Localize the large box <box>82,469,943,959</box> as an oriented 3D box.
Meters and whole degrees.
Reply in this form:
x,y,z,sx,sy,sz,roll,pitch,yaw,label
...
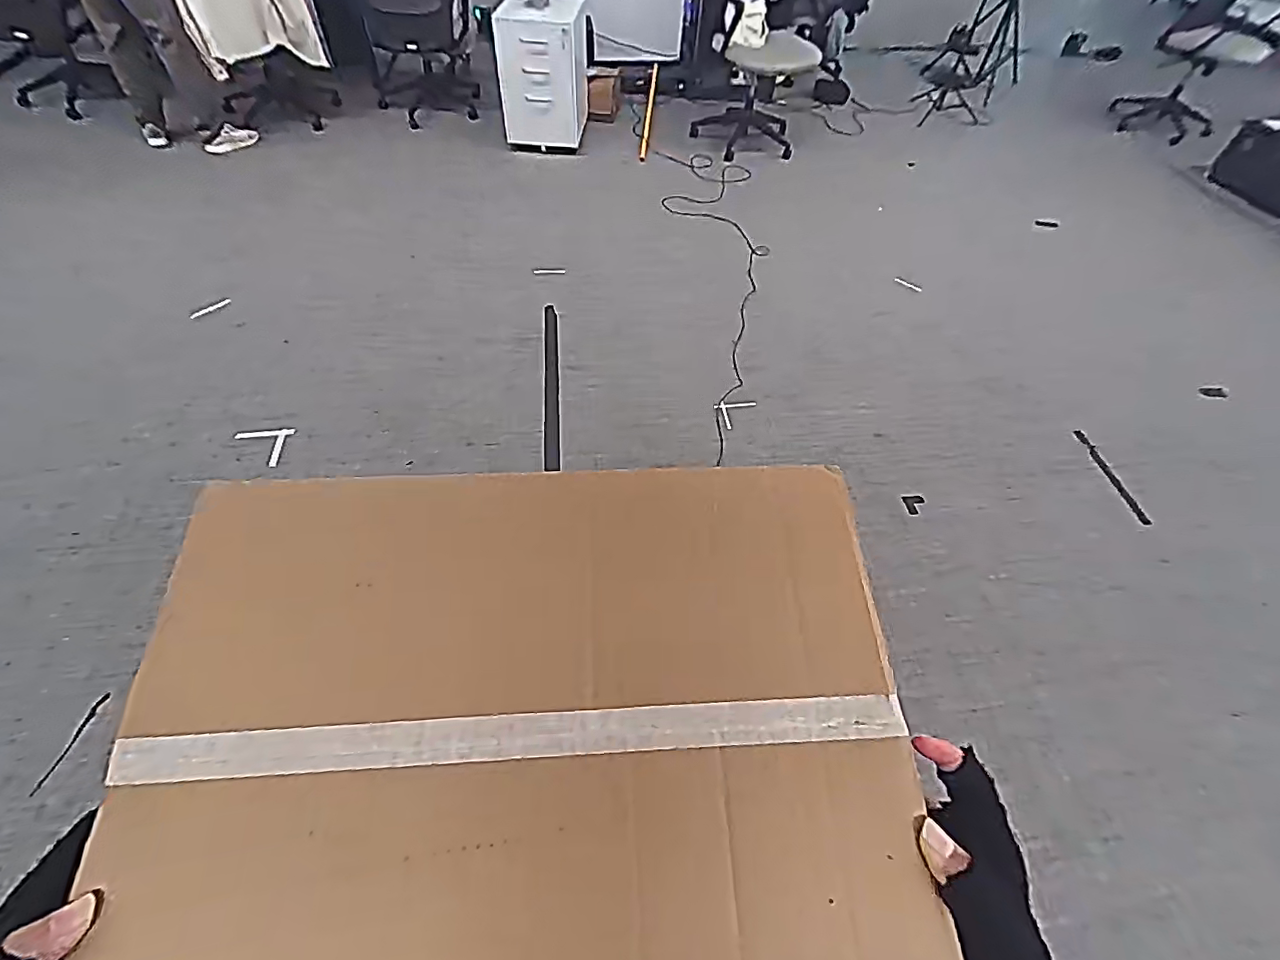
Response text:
x,y,z,sx,sy,sz,roll,pitch,yaw,label
-0.067,0.204,0.428,0.408,0.320,0.320,-2,64,-3,large box
